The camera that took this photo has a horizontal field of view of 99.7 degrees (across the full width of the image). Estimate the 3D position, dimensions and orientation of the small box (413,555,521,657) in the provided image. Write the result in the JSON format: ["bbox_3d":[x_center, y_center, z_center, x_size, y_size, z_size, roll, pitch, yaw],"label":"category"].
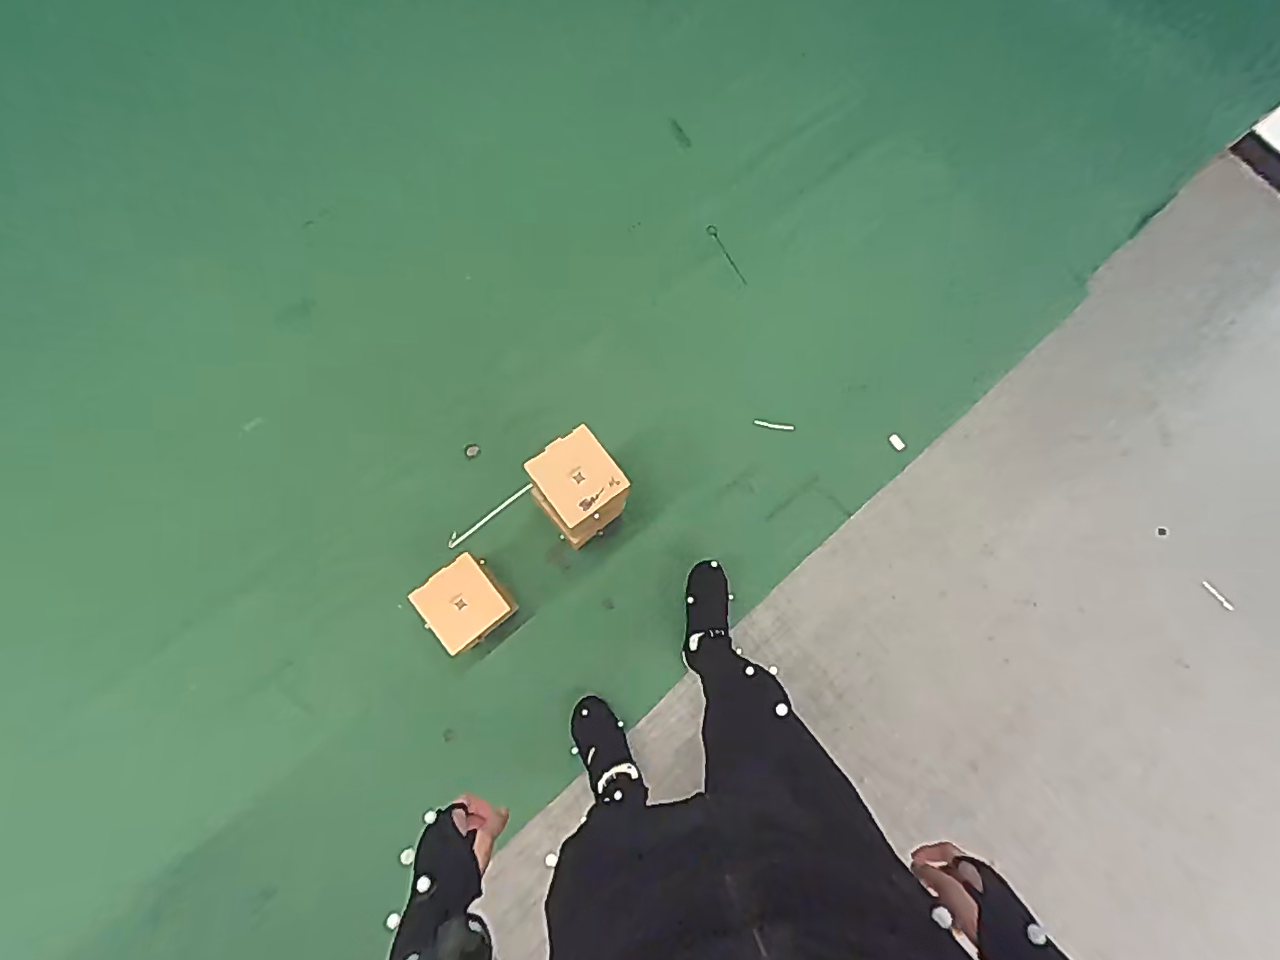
[{"bbox_3d":[-0.412,0.303,1.321,0.168,0.176,0.179,-39,82,-11],"label":"small box"}]

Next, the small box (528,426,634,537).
[{"bbox_3d":[-0.134,0.011,1.241,0.168,0.176,0.179,-36,82,-12],"label":"small box"}]
